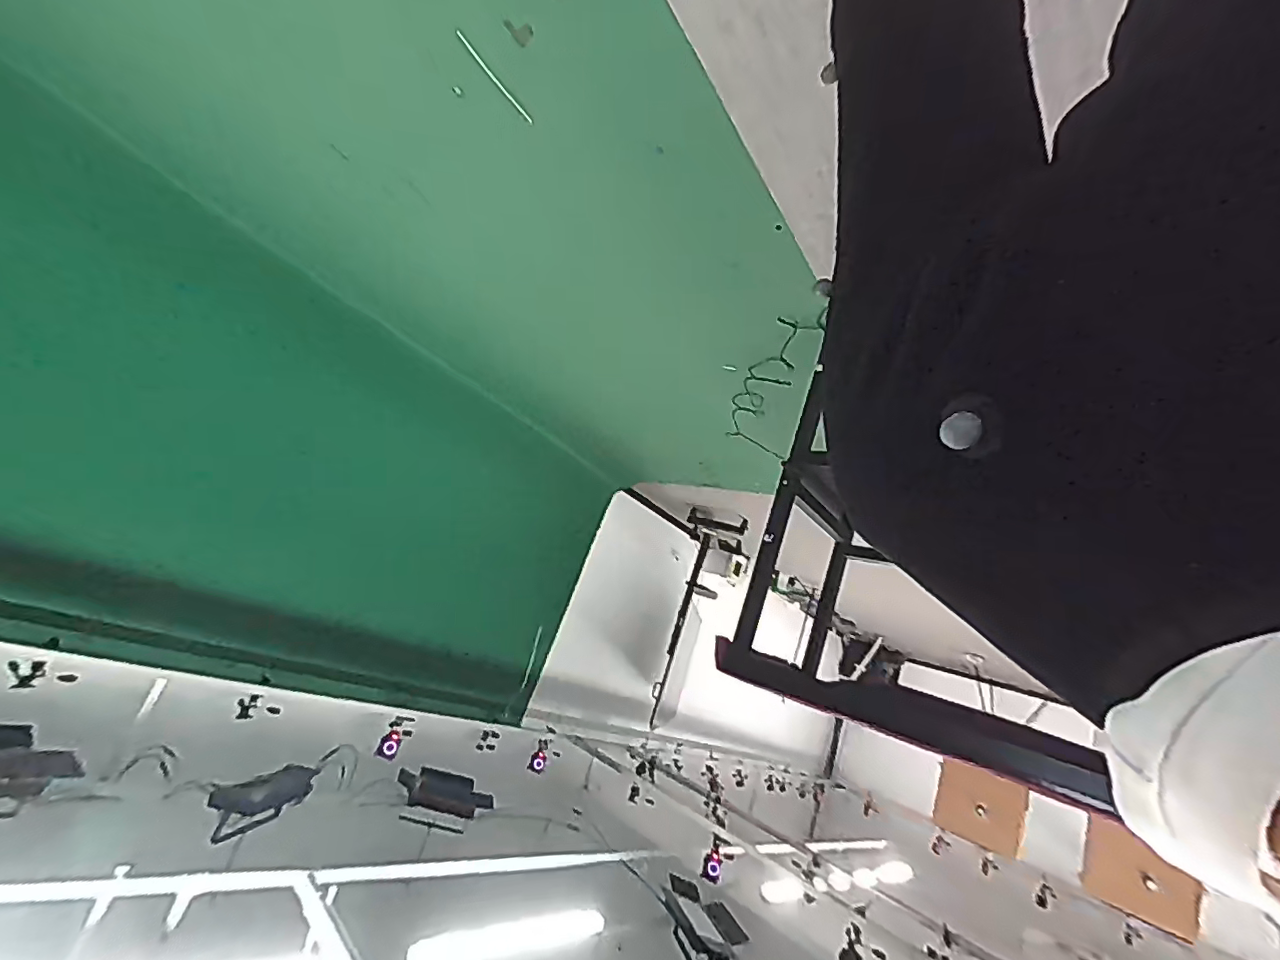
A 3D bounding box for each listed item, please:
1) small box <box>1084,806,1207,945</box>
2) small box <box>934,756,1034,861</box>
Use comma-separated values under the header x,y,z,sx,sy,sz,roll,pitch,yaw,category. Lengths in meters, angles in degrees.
x,y,z,sx,sy,sz,roll,pitch,yaw,category
1.041,0.804,1.121,0.179,0.176,0.168,5,158,42,small box
0.841,0.789,1.319,0.179,0.176,0.168,6,159,40,small box
